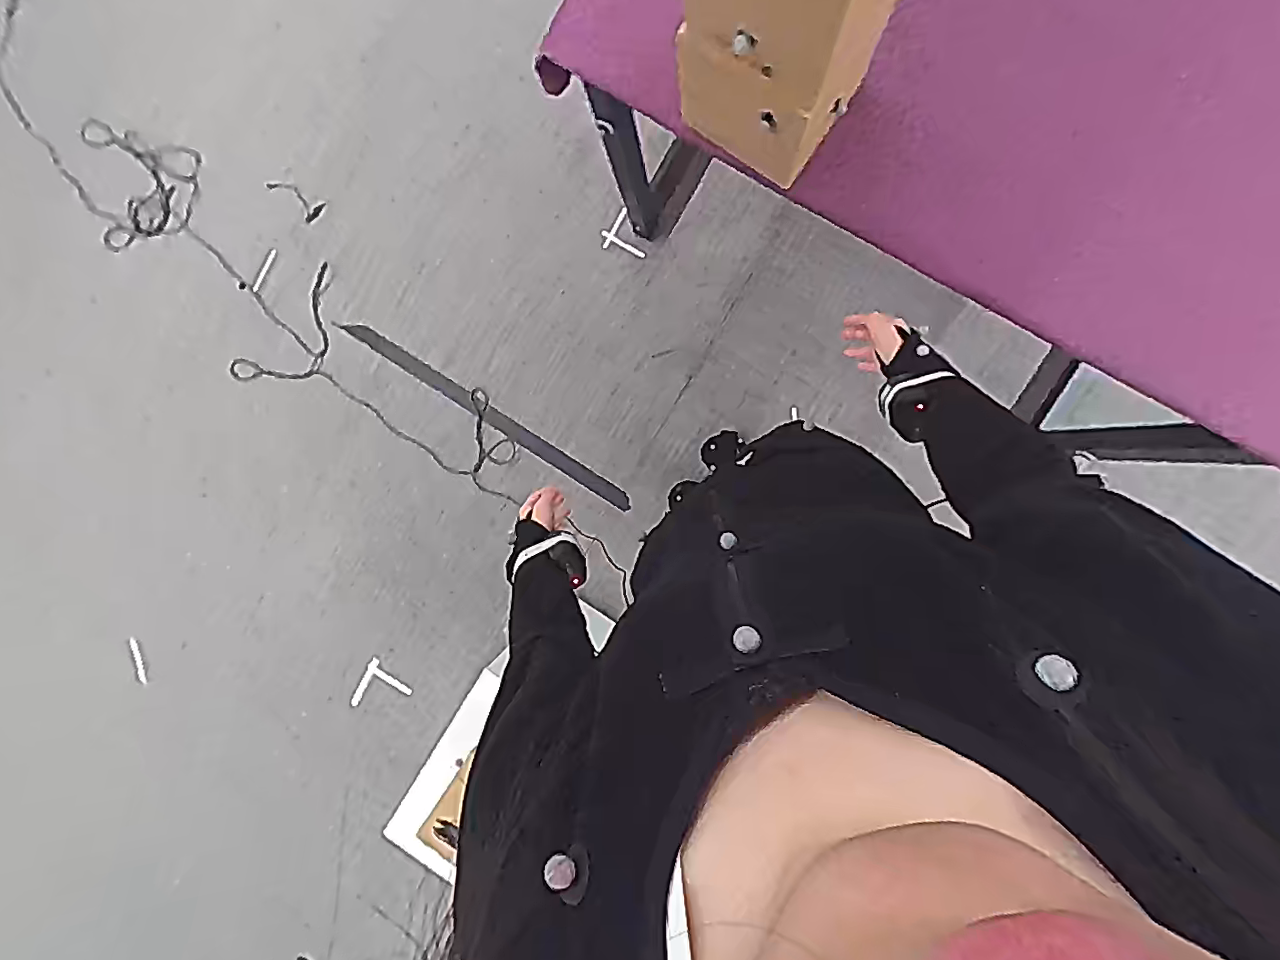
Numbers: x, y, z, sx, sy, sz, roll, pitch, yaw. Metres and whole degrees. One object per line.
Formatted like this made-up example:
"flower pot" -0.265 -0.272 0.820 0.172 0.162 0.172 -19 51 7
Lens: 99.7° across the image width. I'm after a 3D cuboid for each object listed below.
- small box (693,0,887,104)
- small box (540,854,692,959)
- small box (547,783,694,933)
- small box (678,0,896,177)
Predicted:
"small box" 0.153 -0.496 0.480 0.168 0.176 0.179 35 98 3
"small box" -0.040 0.659 0.721 0.168 0.176 0.179 31 97 4
"small box" -0.020 0.650 0.881 0.168 0.176 0.179 33 98 3
"small box" 0.165 -0.501 0.644 0.179 0.176 0.168 36 97 4
